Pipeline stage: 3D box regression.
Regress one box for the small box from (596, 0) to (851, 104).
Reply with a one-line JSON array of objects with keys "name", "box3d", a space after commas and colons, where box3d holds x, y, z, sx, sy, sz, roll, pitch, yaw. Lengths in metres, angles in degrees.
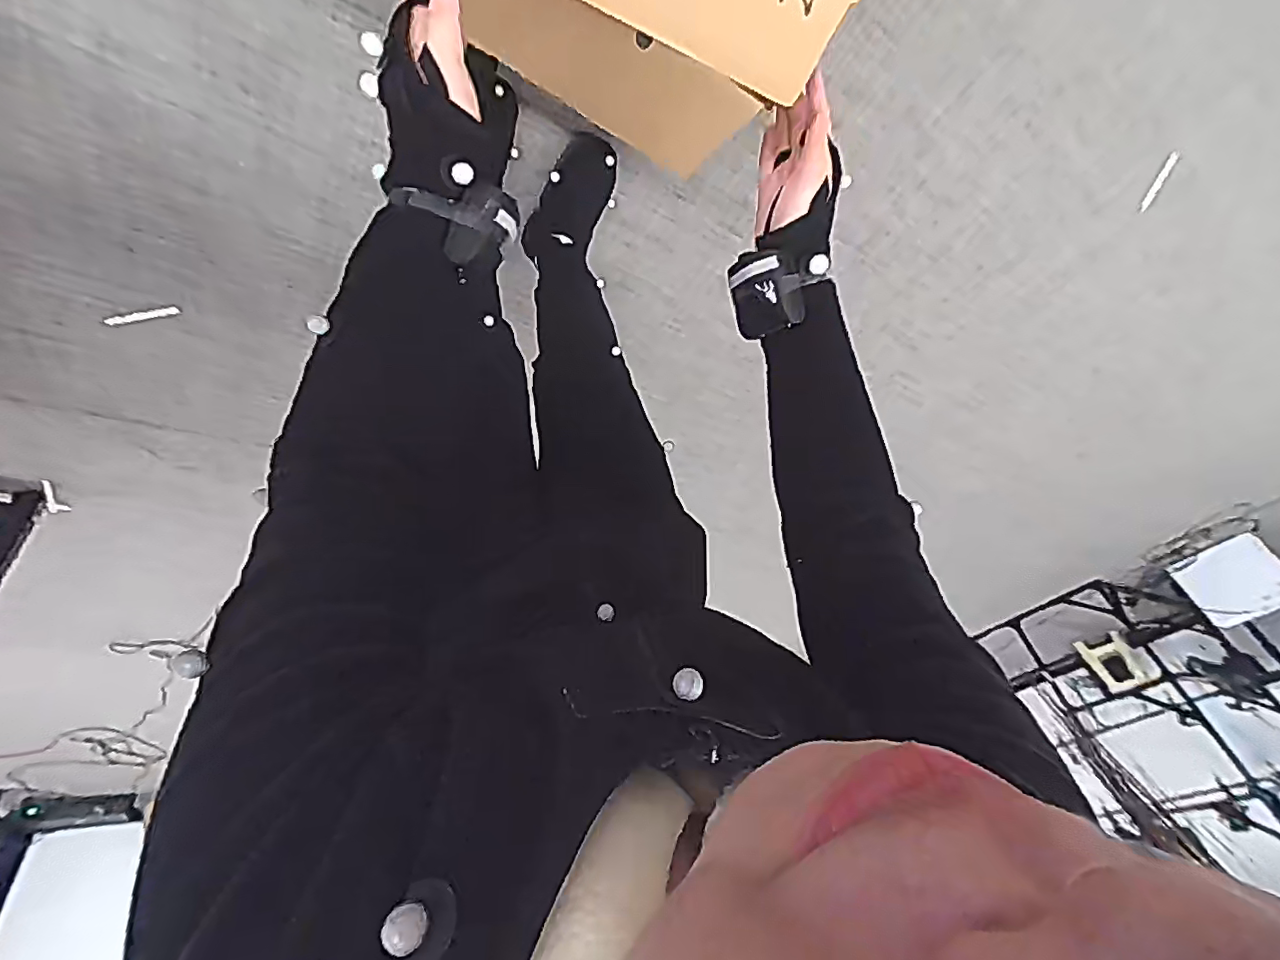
[{"name": "small box", "box3d": [0.041, -0.368, 0.307, 0.179, 0.176, 0.168, 5, 143, -28]}]
